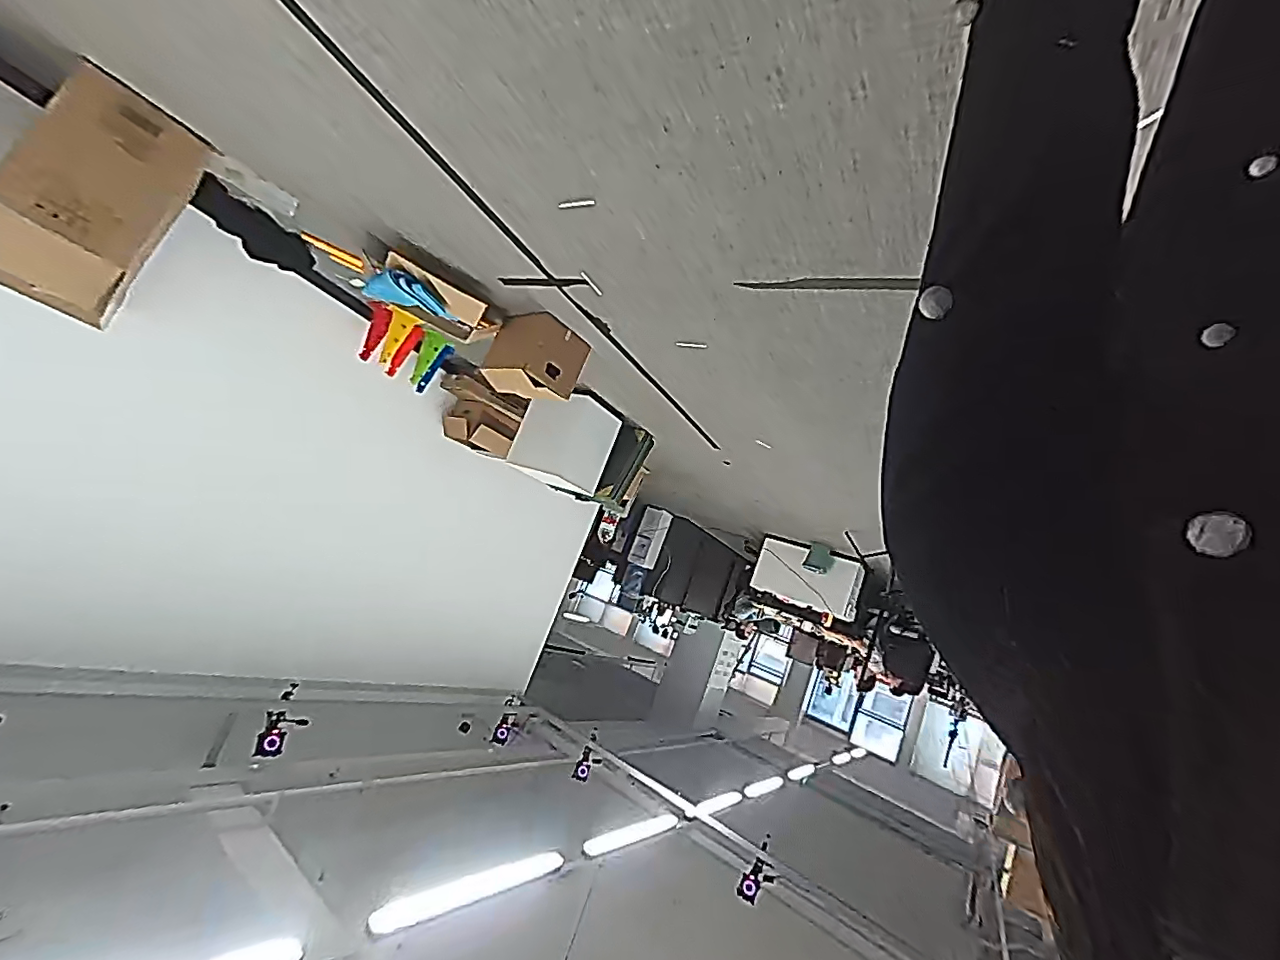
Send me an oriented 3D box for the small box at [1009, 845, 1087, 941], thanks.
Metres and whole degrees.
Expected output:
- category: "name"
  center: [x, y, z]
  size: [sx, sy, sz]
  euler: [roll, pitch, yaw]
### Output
- category: "small box"
  center: [1.288, 1.293, 1.709]
  size: [0.168, 0.176, 0.179]
  euler: [13, 167, 35]
